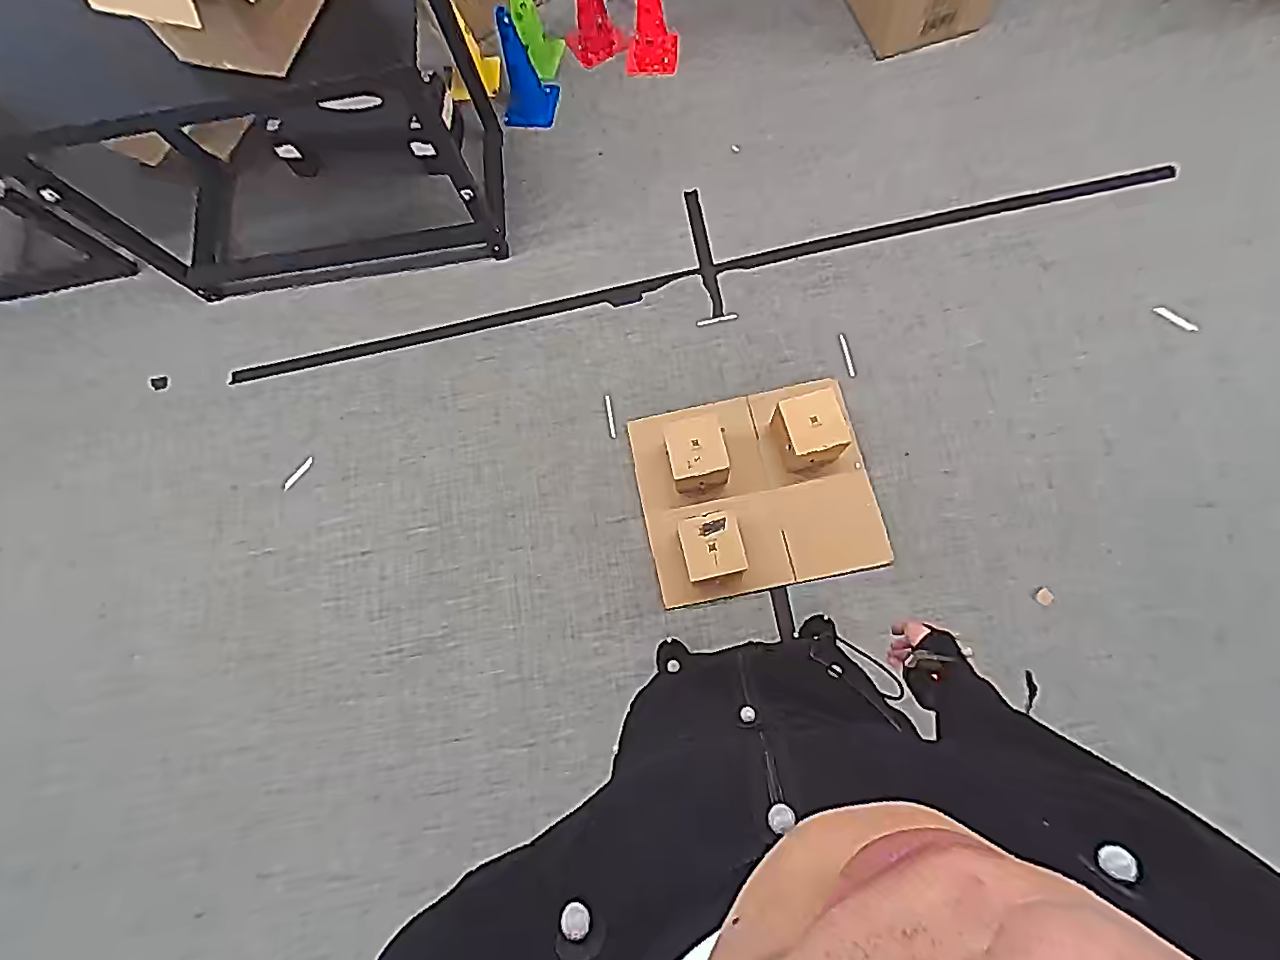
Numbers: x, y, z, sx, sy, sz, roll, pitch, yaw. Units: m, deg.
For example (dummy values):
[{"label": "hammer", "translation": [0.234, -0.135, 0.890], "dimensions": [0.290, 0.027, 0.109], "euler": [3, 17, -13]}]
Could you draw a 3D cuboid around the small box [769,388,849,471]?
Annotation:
[{"label": "small box", "translation": [0.498, -0.147, 1.626], "dimensions": [0.168, 0.176, 0.179], "euler": [-16, 76, 1]}]

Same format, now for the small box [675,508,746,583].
[{"label": "small box", "translation": [0.199, 0.195, 1.563], "dimensions": [0.168, 0.176, 0.179], "euler": [-13, 77, 3]}]

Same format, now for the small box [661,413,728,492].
[{"label": "small box", "translation": [0.162, -0.079, 1.633], "dimensions": [0.168, 0.176, 0.179], "euler": [-13, 76, 3]}]
